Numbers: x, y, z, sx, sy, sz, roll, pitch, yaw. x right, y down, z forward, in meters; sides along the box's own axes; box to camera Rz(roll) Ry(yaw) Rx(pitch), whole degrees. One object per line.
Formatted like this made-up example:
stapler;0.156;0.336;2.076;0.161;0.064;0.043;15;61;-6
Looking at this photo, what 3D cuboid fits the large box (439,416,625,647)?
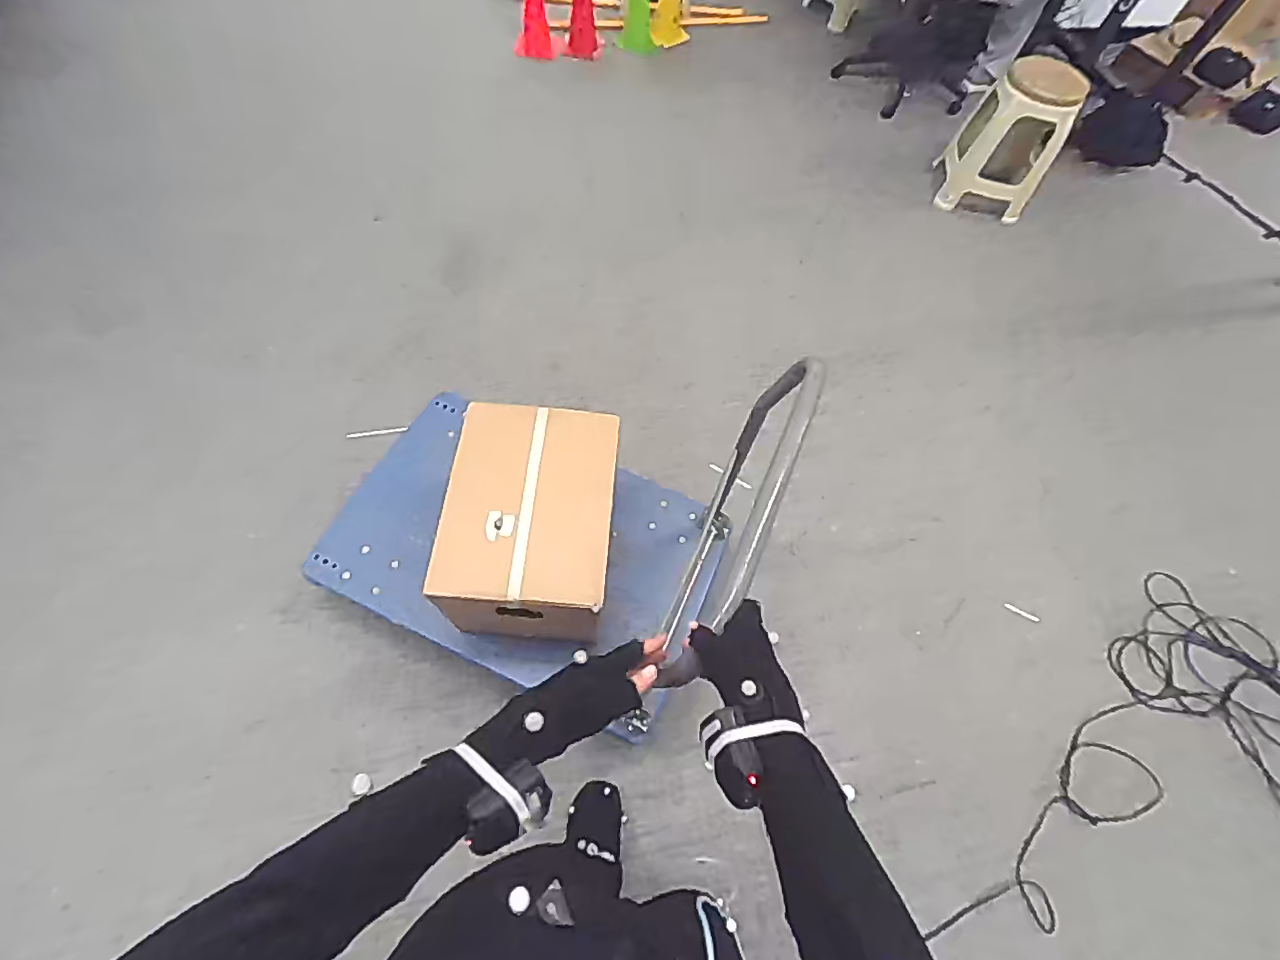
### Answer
large box;-0.205;0.121;1.161;0.320;0.320;0.408;5;63;-3
